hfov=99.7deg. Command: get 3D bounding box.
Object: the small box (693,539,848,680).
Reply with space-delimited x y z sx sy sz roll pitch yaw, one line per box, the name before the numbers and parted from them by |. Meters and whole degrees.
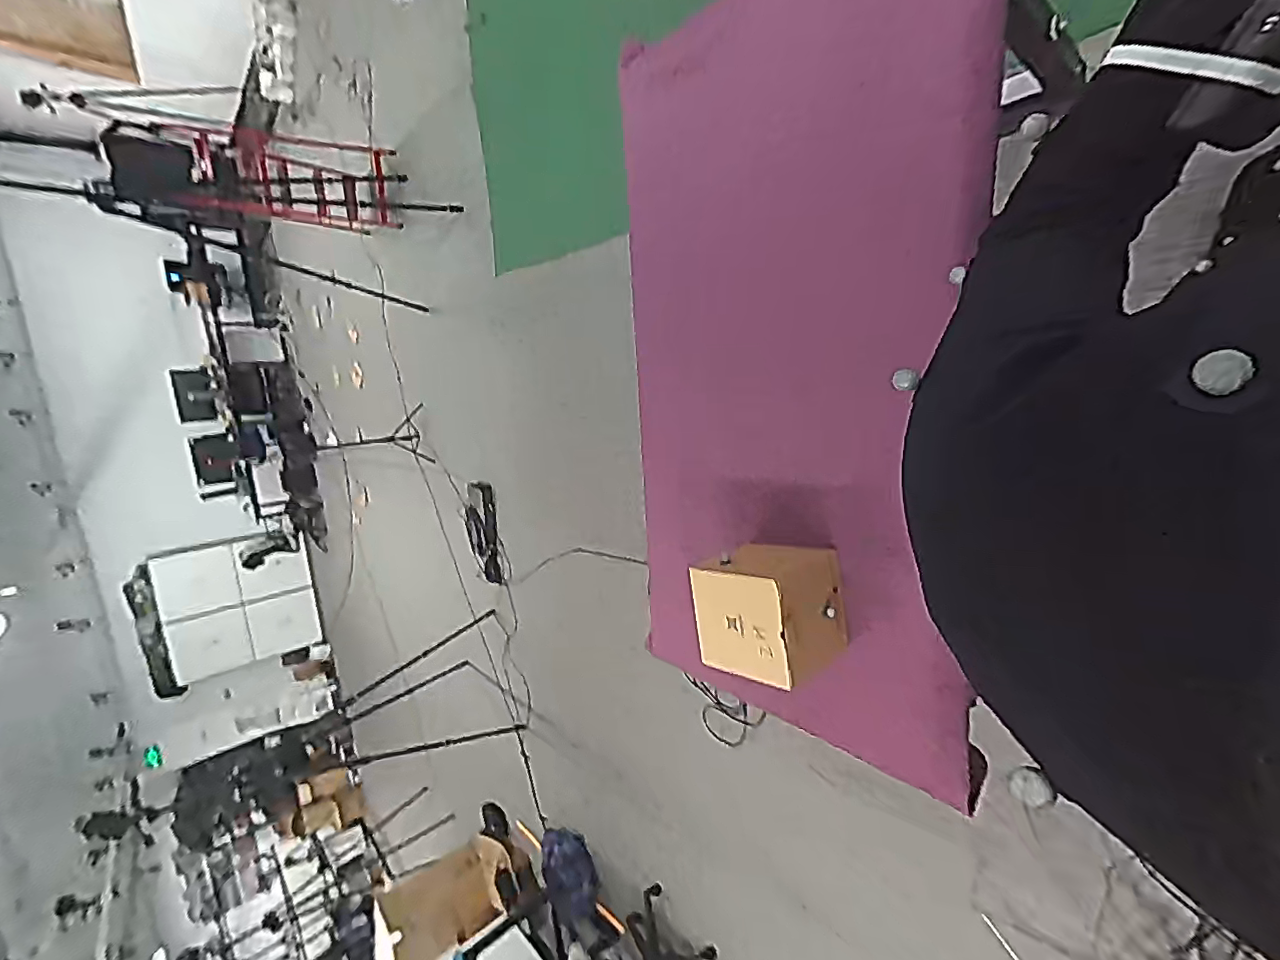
small box | 0.214 0.197 0.888 0.179 0.176 0.168 -1 99 49
